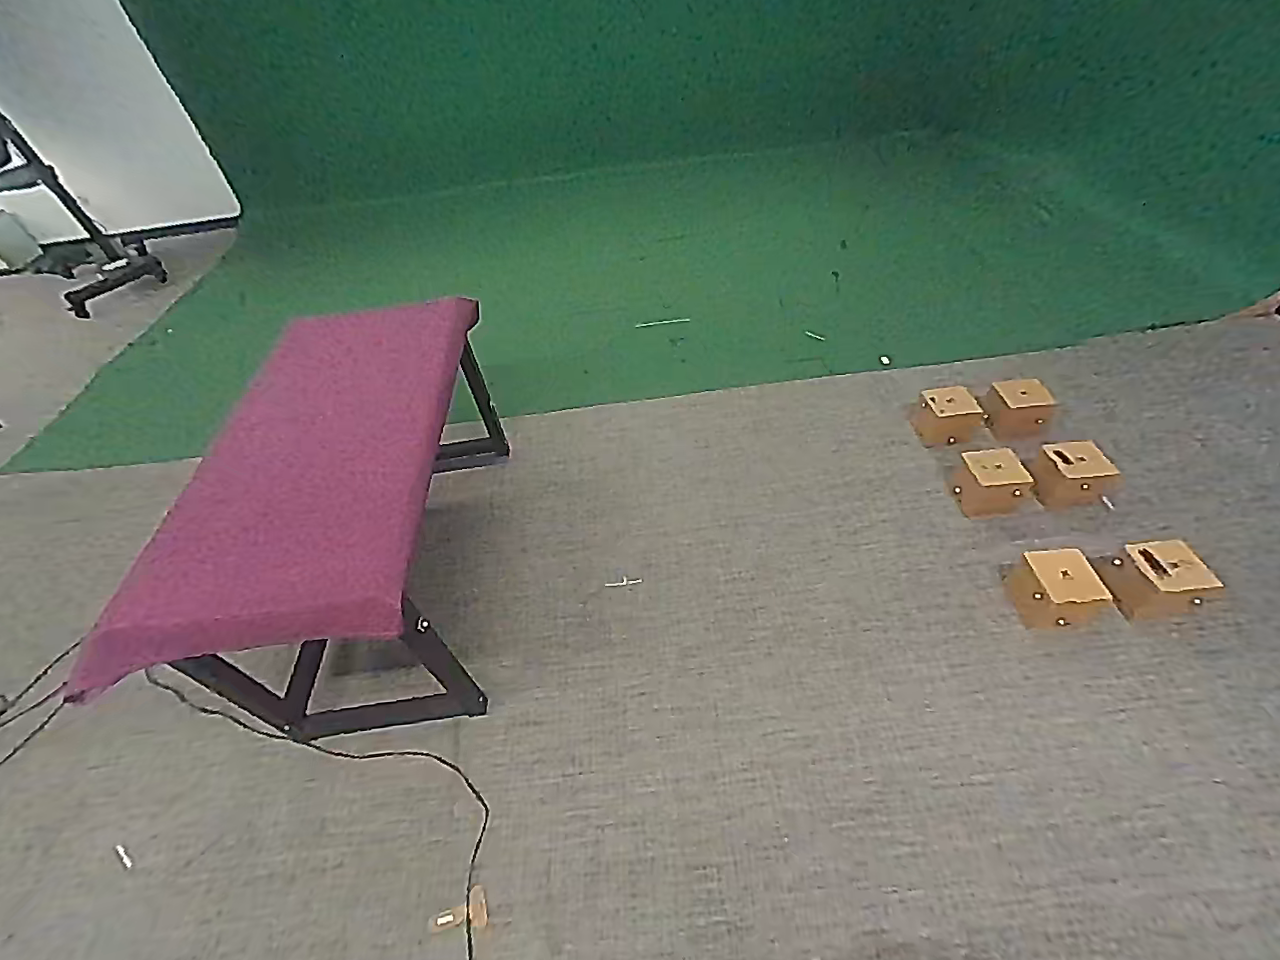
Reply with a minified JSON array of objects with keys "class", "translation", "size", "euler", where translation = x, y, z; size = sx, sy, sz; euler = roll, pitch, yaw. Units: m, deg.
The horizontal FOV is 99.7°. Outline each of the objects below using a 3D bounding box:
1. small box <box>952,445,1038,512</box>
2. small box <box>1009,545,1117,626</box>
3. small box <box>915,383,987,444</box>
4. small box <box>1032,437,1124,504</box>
[{"class":"small box","translation":[1.253,-0.002,1.923],"size":[0.179,0.176,0.168],"euler":[-6,47,3]},{"class":"small box","translation":[1.262,0.320,1.631],"size":[0.168,0.176,0.179],"euler":[-6,48,4]},{"class":"small box","translation":[1.238,-0.265,2.166],"size":[0.179,0.176,0.168],"euler":[-6,47,1]},{"class":"small box","translation":[1.529,-0.031,1.908],"size":[0.179,0.176,0.168],"euler":[-5,48,3]}]
